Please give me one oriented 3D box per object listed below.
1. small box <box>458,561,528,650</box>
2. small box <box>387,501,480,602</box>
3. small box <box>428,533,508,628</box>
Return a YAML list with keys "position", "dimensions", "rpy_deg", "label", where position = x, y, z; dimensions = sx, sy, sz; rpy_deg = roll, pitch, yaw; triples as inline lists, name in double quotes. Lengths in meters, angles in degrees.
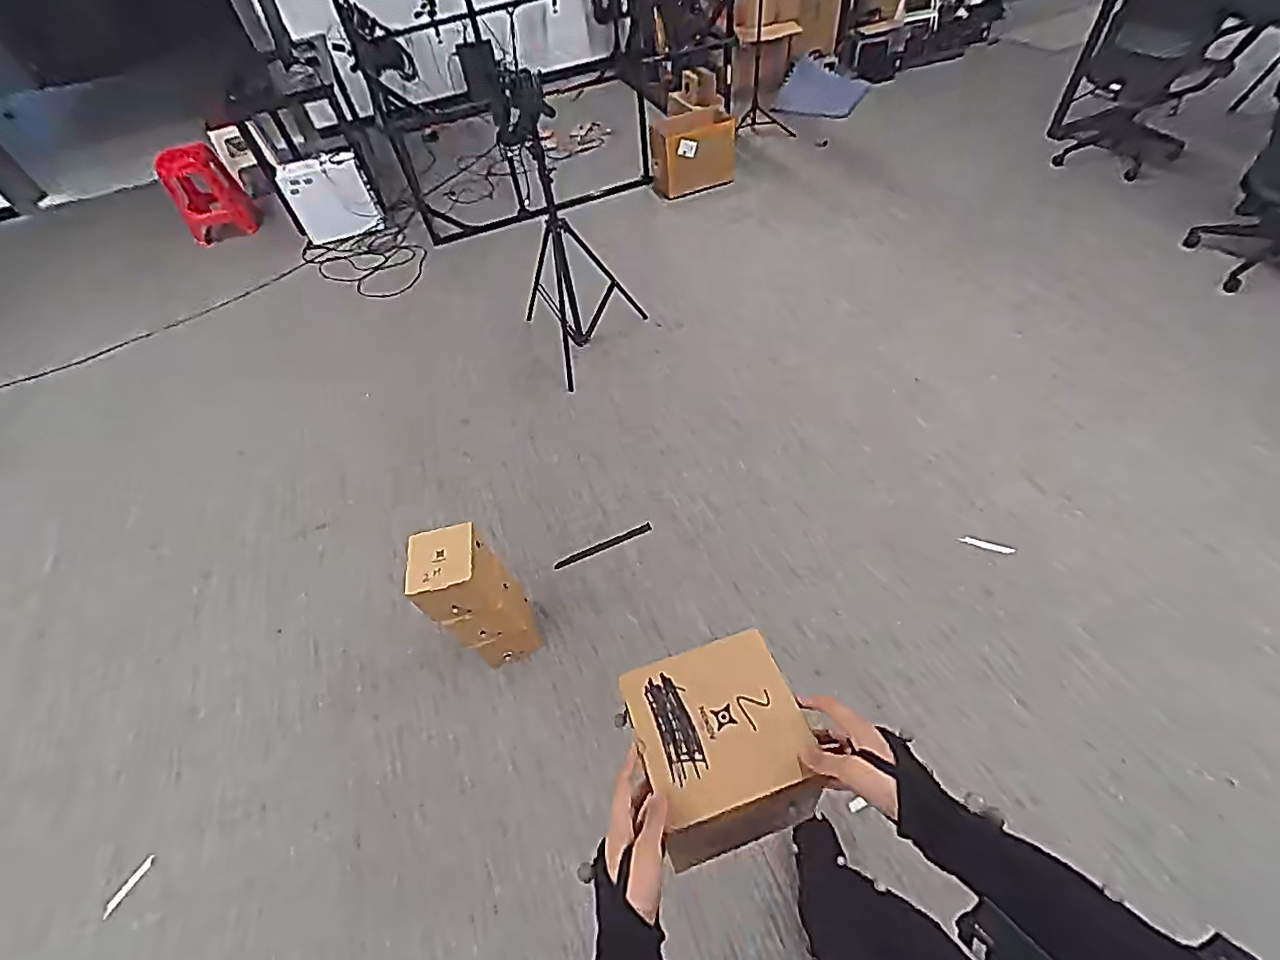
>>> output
- position: [-0.448, 0.377, 1.620]
  dimensions: [0.168, 0.176, 0.179]
  rpy_deg: [-20, 53, -7]
  label: "small box"
- position: [-0.512, 0.182, 1.366]
  dimensions: [0.168, 0.176, 0.179]
  rpy_deg: [-13, 53, -2]
  label: "small box"
- position: [-0.476, 0.281, 1.493]
  dimensions: [0.168, 0.176, 0.179]
  rpy_deg: [-18, 53, -5]
  label: "small box"
